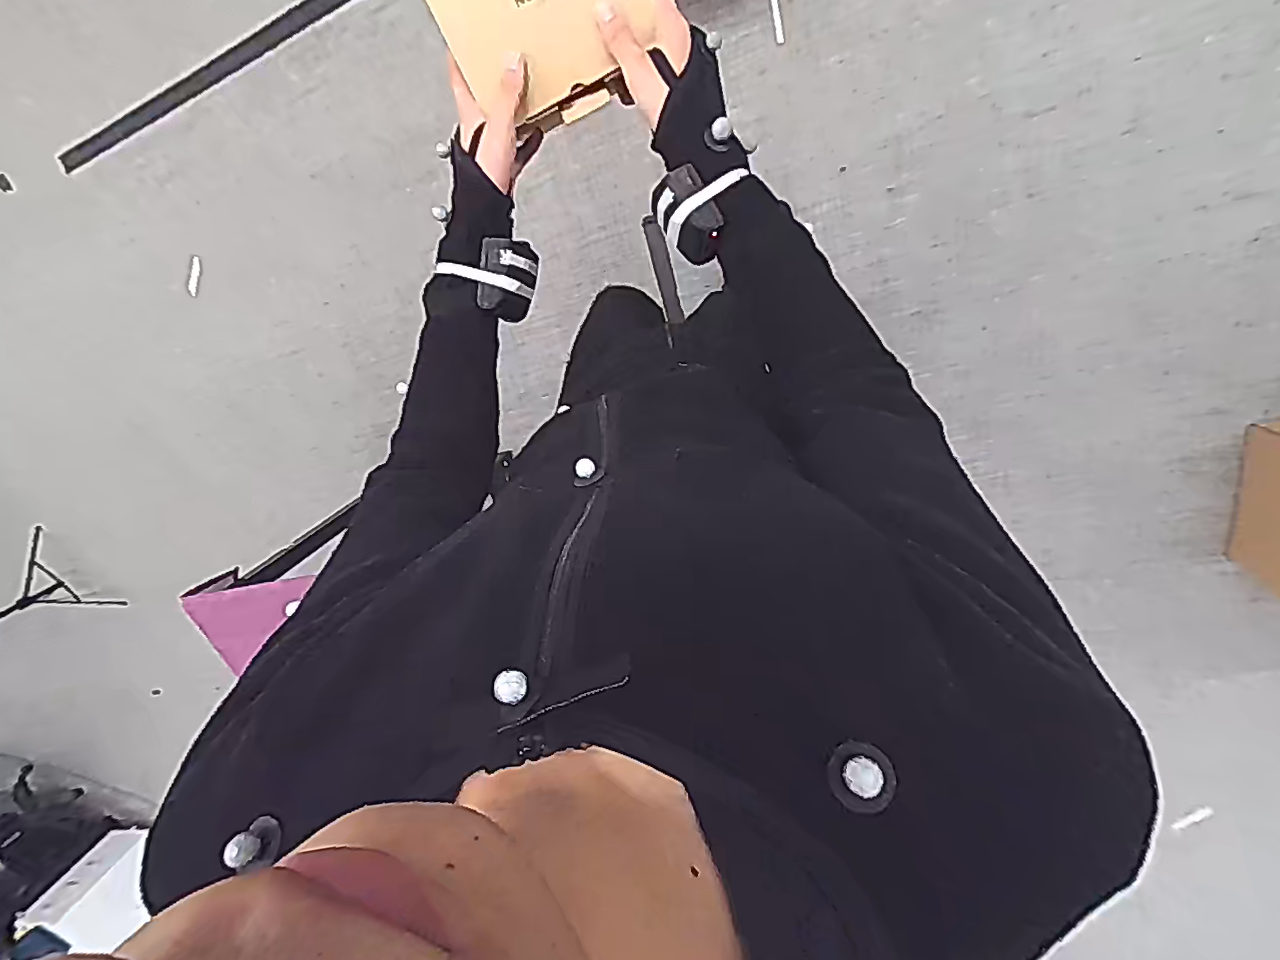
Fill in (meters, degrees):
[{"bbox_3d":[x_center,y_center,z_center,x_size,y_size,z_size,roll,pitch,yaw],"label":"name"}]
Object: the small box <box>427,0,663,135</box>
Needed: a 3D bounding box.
[{"bbox_3d":[-0.087,-0.435,0.476,0.168,0.176,0.179,-21,119,11],"label":"small box"}]
